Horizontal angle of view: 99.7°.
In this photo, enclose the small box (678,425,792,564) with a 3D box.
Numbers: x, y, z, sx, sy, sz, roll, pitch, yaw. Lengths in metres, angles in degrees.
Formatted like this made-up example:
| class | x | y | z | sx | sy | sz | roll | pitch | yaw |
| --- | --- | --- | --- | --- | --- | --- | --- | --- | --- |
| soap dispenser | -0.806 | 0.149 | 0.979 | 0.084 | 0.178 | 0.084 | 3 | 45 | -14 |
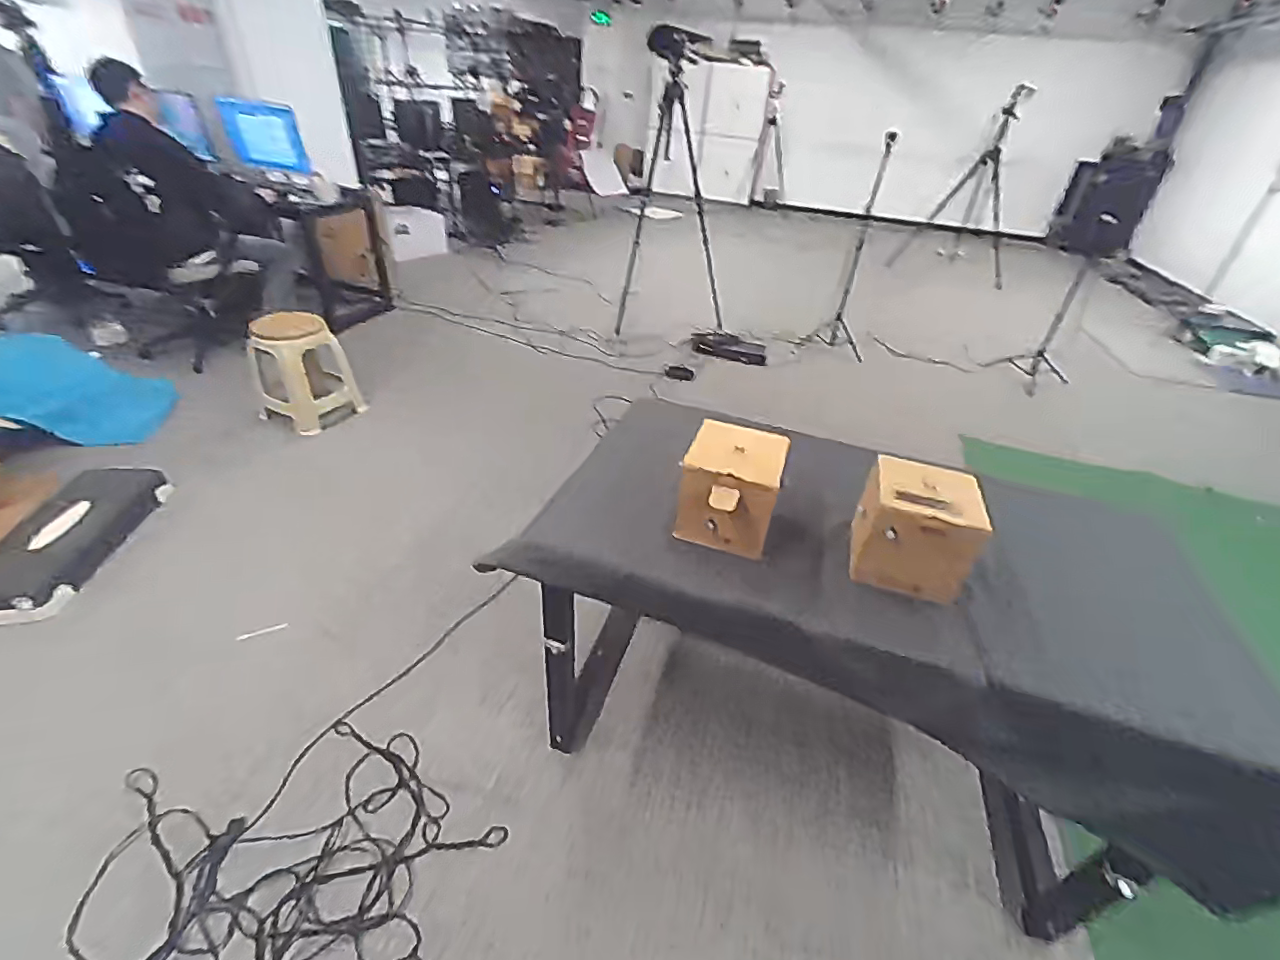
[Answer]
| class | x | y | z | sx | sy | sz | roll | pitch | yaw |
| --- | --- | --- | --- | --- | --- | --- | --- | --- | --- |
| small box | 0.175 | 0.024 | 1.014 | 0.168 | 0.176 | 0.179 | 15 | 37 | 13 |
